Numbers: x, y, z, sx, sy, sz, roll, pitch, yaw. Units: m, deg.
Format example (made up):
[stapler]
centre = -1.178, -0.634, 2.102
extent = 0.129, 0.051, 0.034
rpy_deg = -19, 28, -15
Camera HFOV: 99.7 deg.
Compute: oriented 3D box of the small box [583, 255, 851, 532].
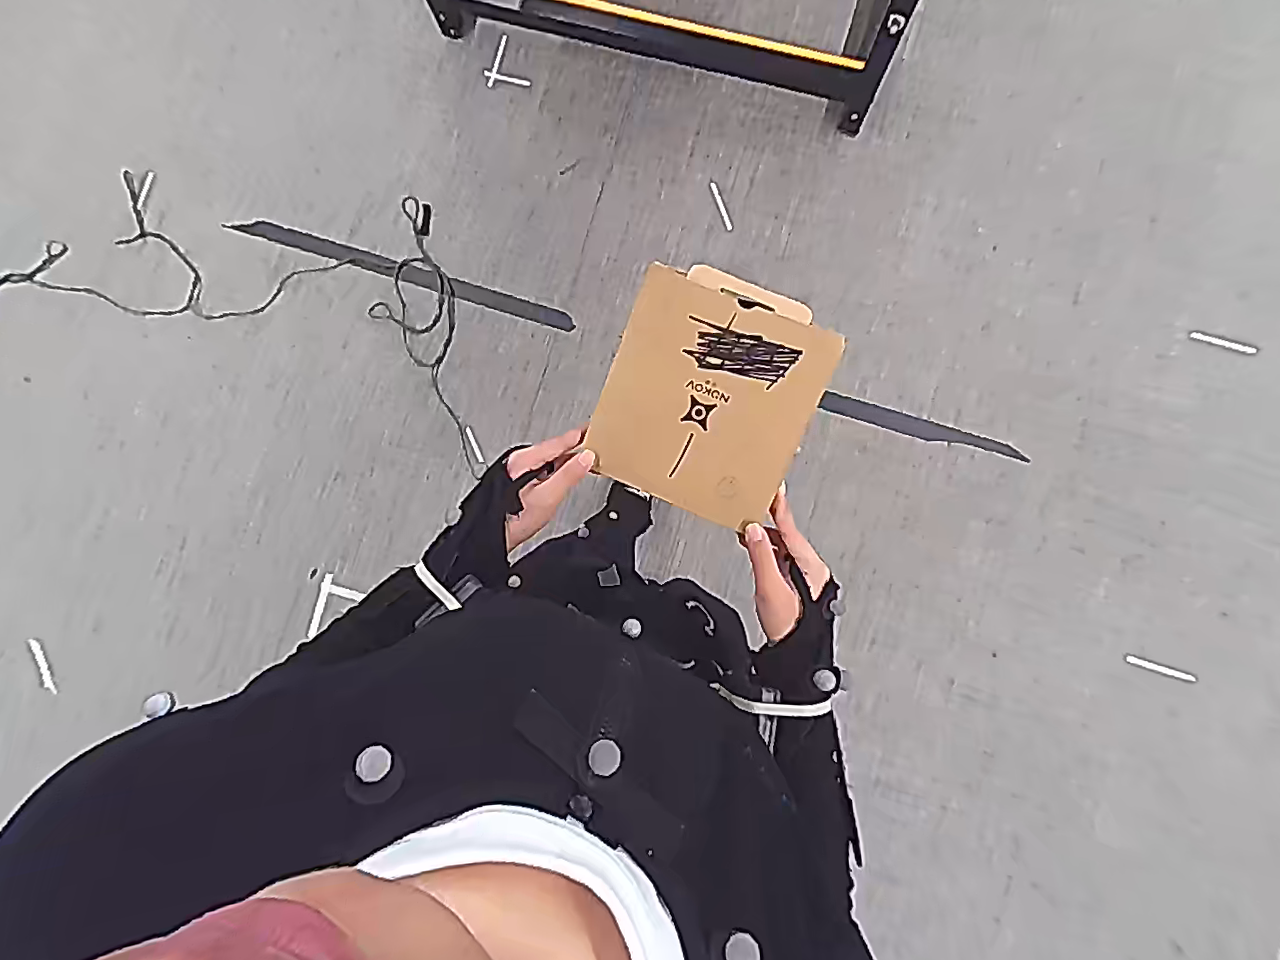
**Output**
[small box]
centre = 0.067, -0.077, 0.509
extent = 0.168, 0.176, 0.179
rpy_deg = 23, 100, 5
